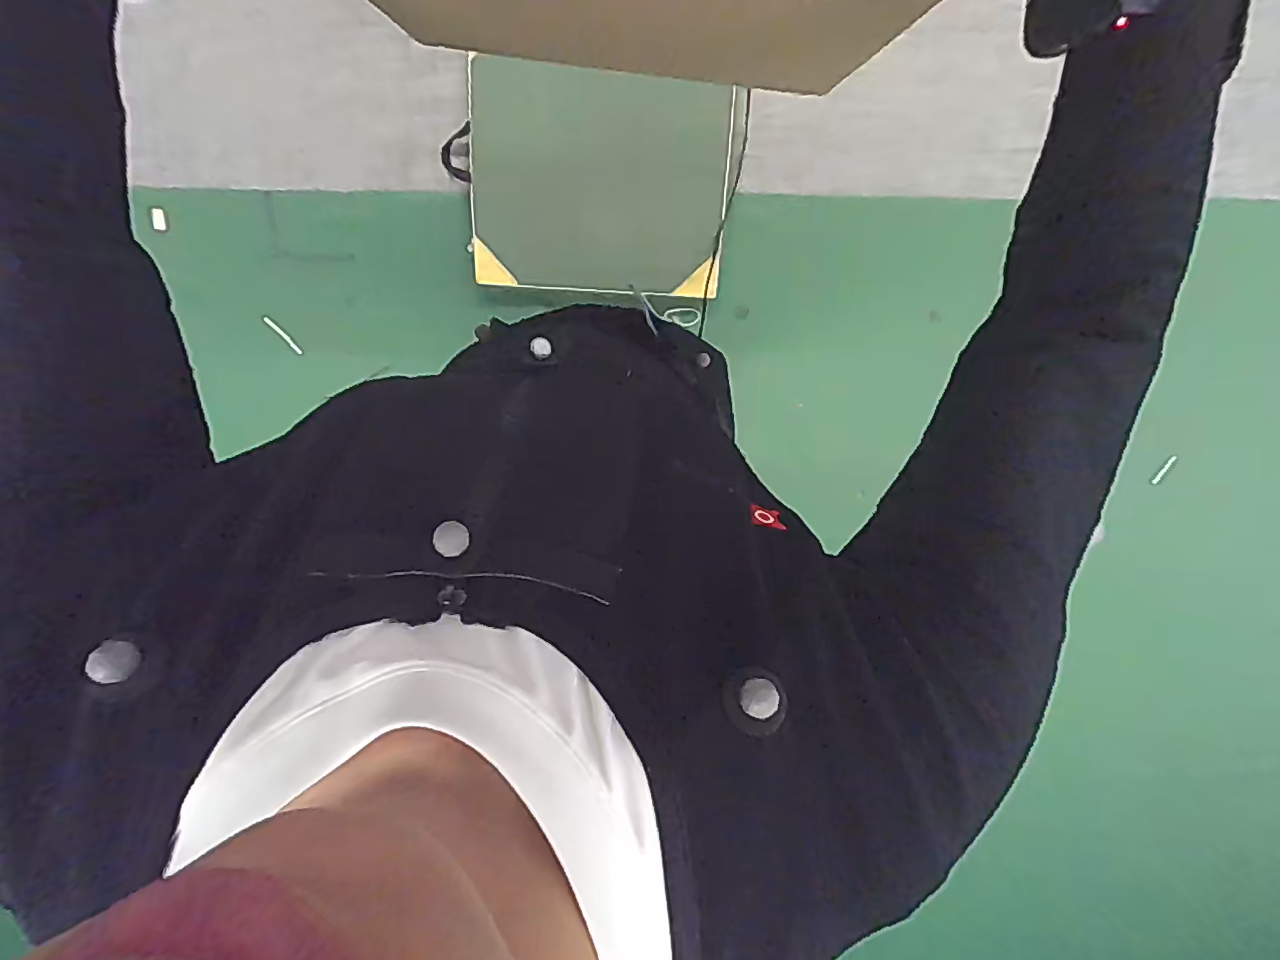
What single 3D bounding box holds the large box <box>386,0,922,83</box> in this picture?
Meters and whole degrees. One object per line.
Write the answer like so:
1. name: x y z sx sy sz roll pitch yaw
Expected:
1. large box: 0.003 -0.484 0.331 0.408 0.320 0.320 5 115 -3
